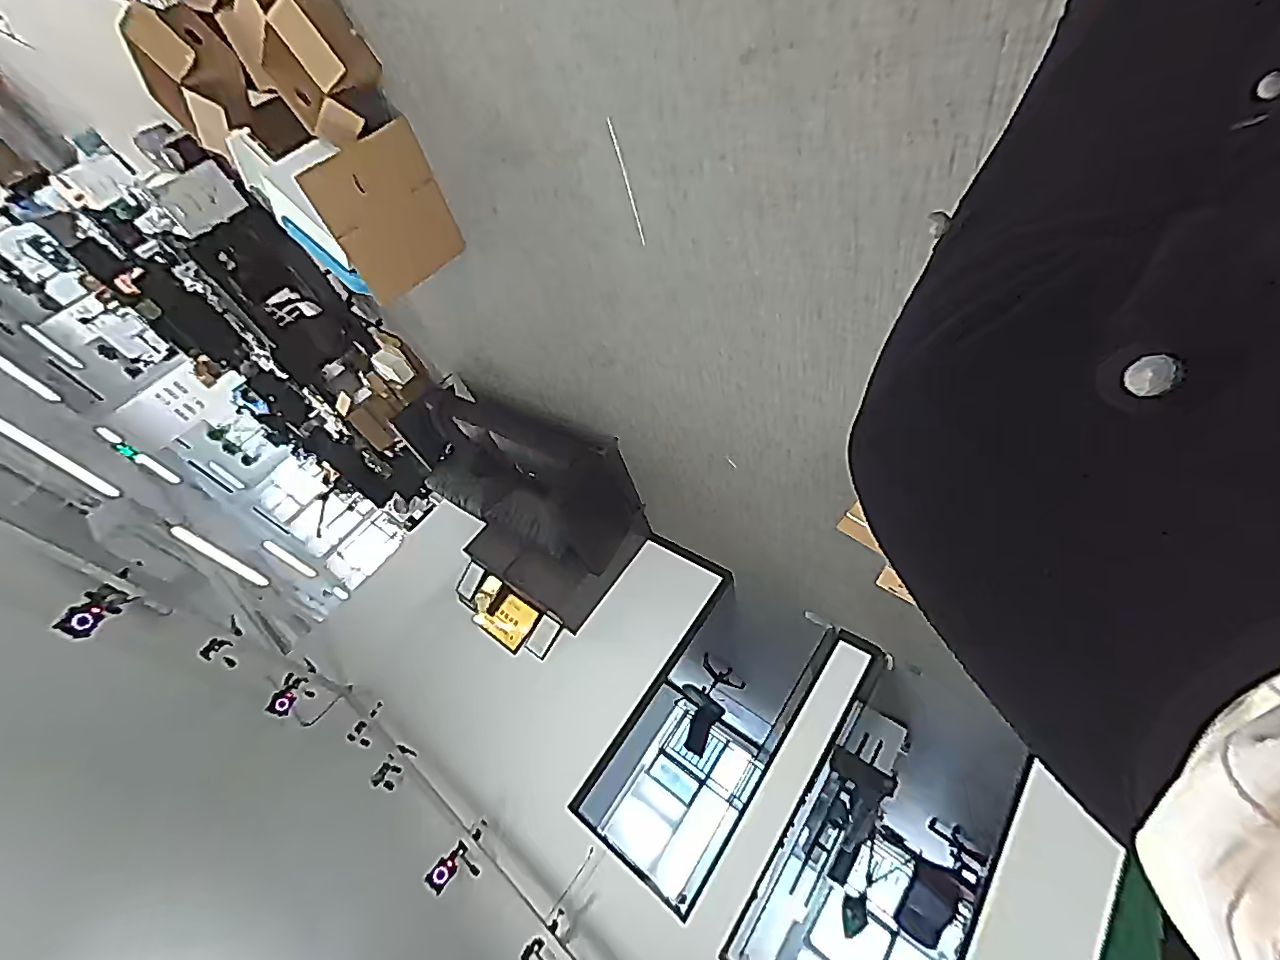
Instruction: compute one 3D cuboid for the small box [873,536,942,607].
[{"bbox_3d":[1.020,0.345,2.060,0.168,0.176,0.179,30,154,24],"label":"small box"}]
